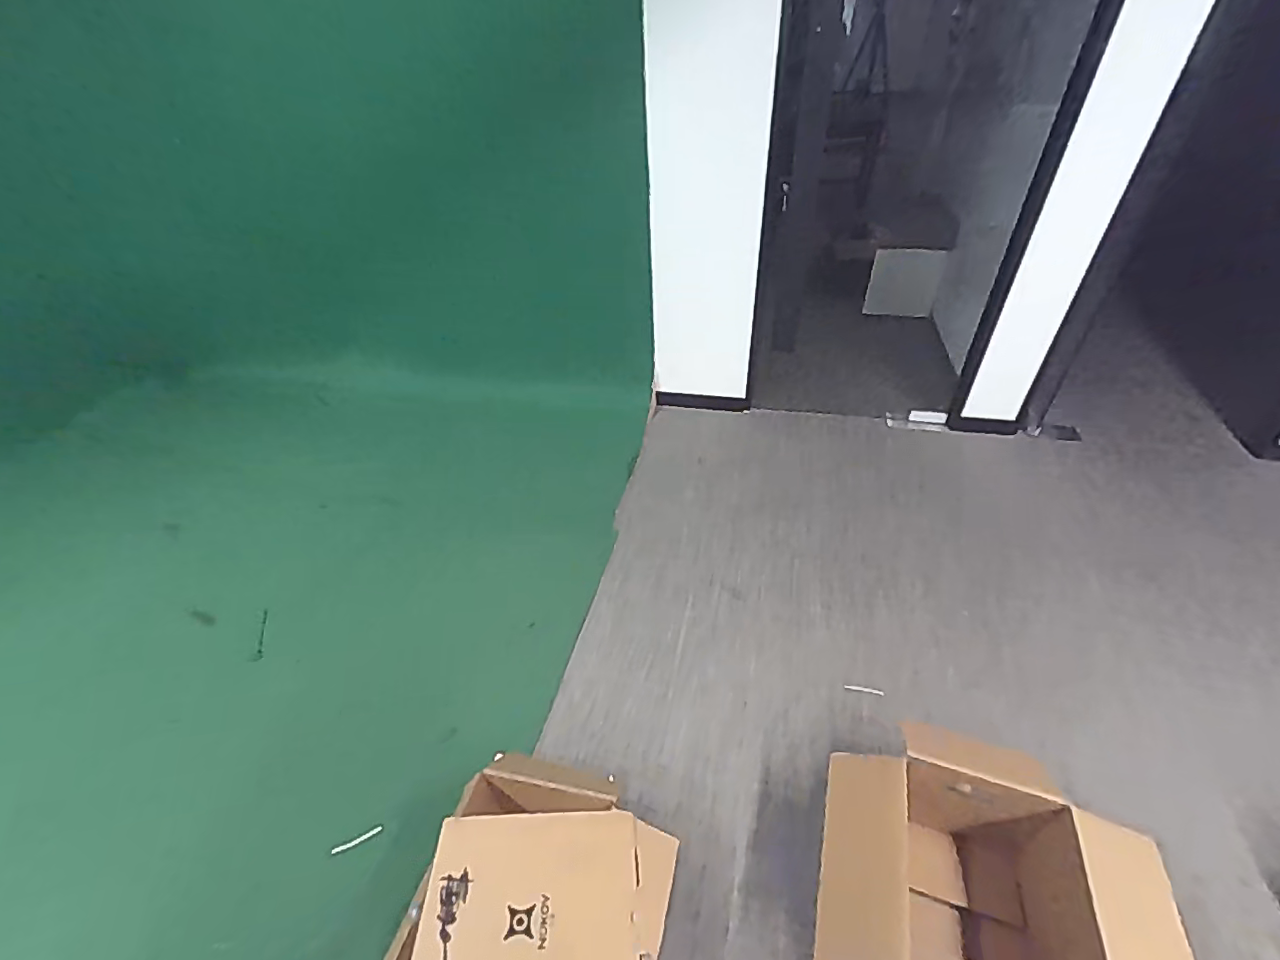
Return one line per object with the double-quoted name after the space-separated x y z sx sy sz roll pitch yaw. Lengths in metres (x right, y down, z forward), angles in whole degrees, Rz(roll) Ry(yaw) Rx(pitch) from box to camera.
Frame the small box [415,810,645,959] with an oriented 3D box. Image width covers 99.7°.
-0.091 0.419 0.473 0.179 0.176 0.168 3 31 -4 "small box"
